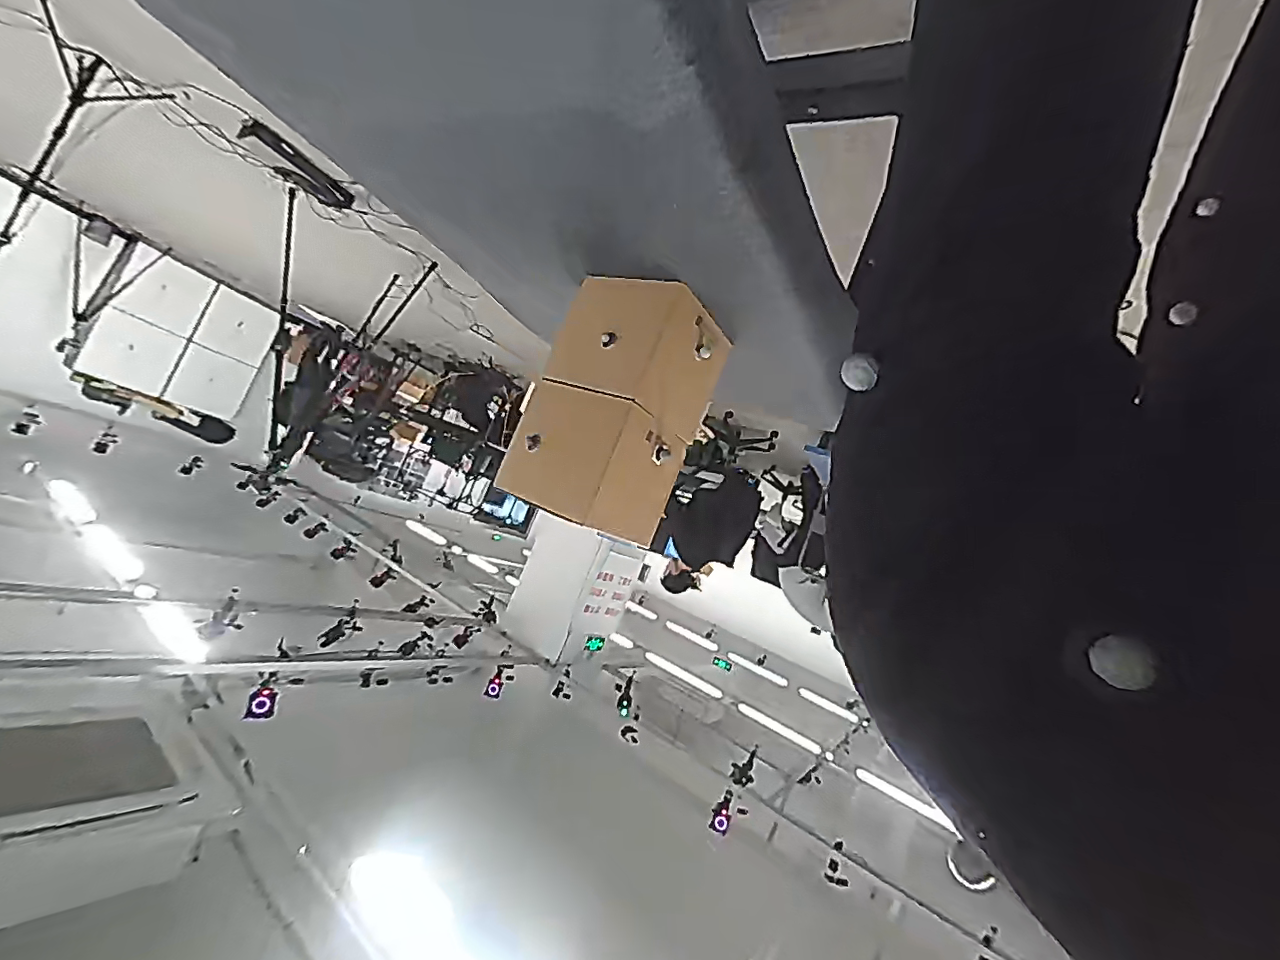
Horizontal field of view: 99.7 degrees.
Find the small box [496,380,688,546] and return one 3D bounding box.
[{"bbox_3d":[-0.062,-0.026,0.758,0.179,0.176,0.168,18,174,35],"label":"small box"}]

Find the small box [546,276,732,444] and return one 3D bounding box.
[{"bbox_3d":[0.003,-0.174,0.777,0.179,0.176,0.168,18,173,35],"label":"small box"}]
